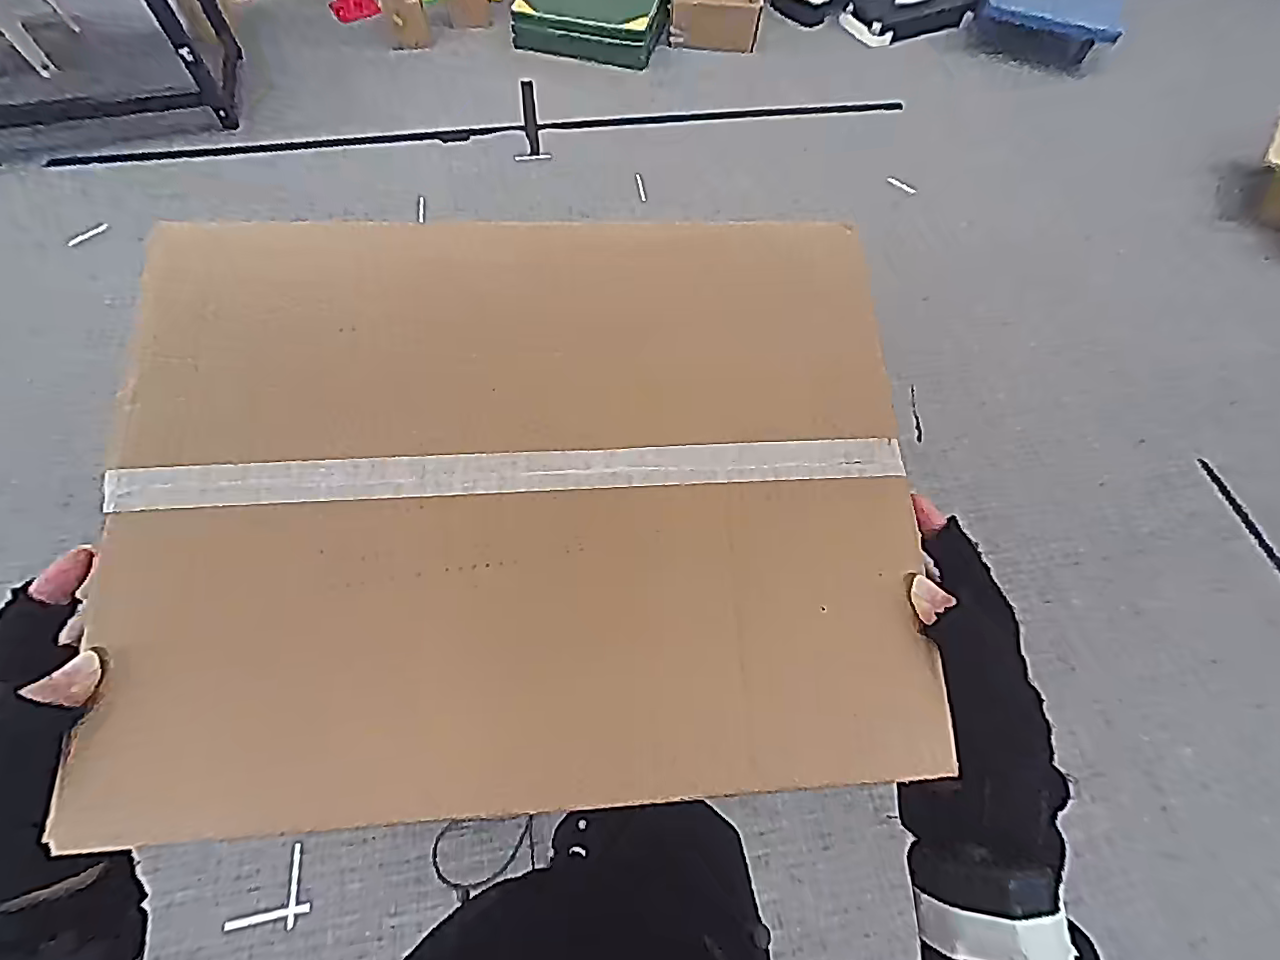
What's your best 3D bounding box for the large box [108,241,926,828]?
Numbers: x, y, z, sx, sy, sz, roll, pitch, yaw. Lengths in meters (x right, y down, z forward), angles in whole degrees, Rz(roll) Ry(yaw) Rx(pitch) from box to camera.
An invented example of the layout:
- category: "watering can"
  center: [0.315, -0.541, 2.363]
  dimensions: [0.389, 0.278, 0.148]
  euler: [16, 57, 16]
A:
- category: "large box"
  center: [-0.069, 0.039, 0.444]
  dimensions: [0.408, 0.320, 0.320]
  euler: [-3, 76, -5]
